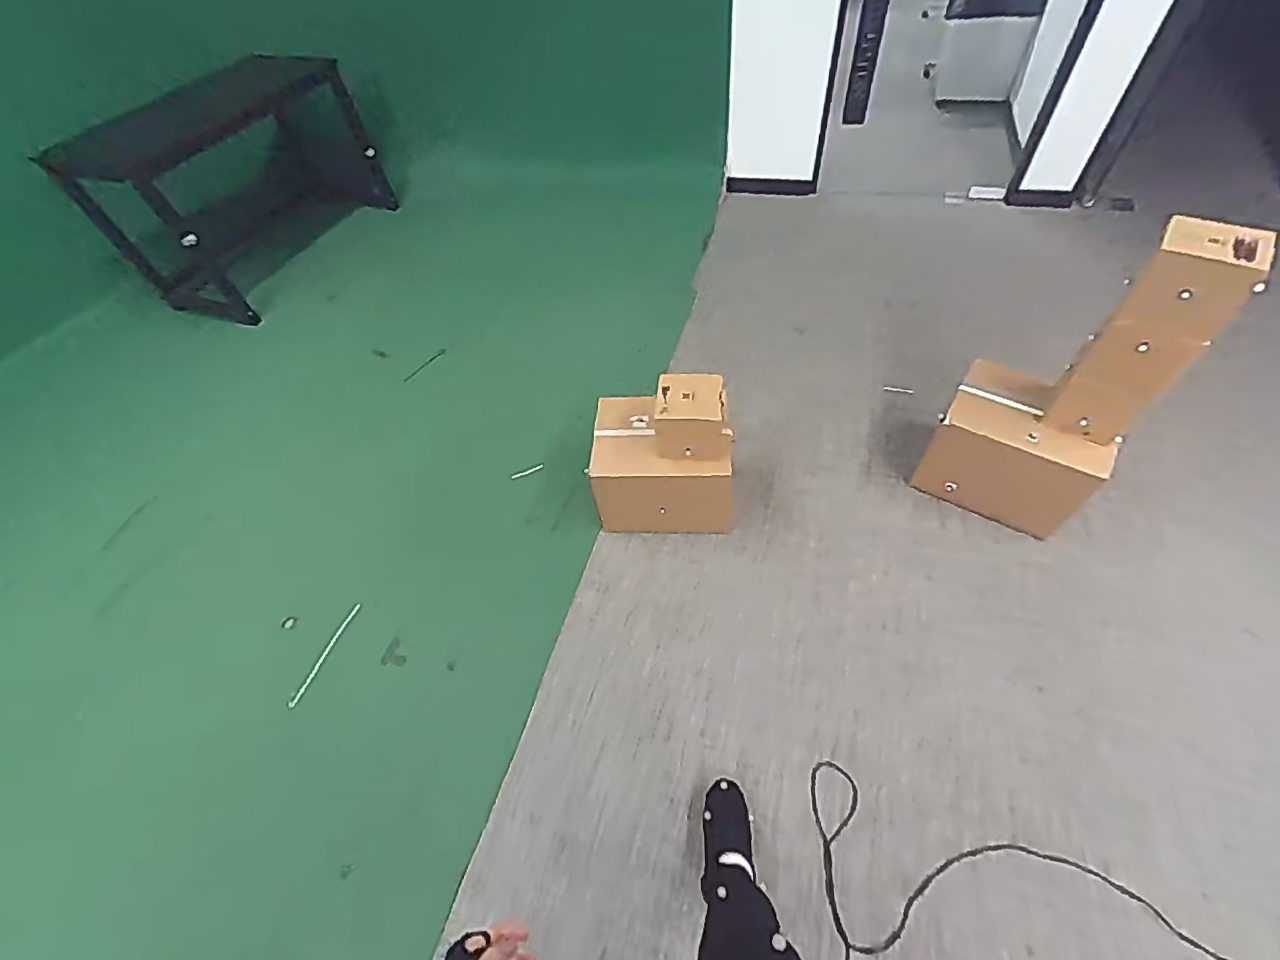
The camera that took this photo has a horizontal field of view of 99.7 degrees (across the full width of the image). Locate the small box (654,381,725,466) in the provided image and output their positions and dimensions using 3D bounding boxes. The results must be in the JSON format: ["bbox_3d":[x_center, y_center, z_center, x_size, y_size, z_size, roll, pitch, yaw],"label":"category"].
[{"bbox_3d":[0.137,-0.152,1.485,0.179,0.176,0.168,3,53,9],"label":"small box"}]

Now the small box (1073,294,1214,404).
[{"bbox_3d":[1.188,-0.307,1.285,0.179,0.176,0.168,29,59,26],"label":"small box"}]

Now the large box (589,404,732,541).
[{"bbox_3d":[0.076,-0.017,1.700,0.408,0.320,0.320,-1,52,7],"label":"large box"}]

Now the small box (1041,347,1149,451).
[{"bbox_3d":[1.193,-0.210,1.415,0.168,0.176,0.179,28,59,25],"label":"small box"}]
